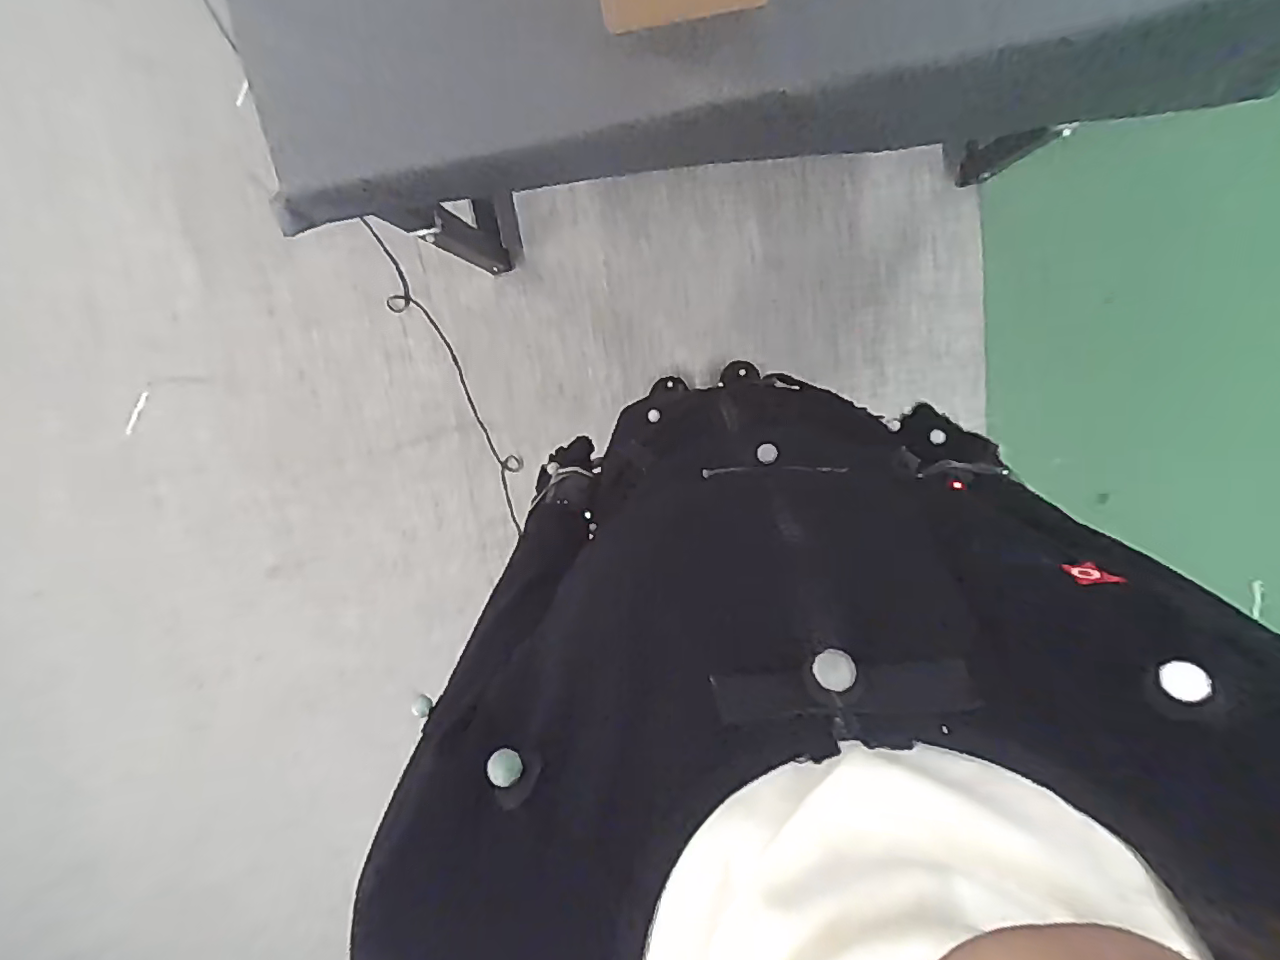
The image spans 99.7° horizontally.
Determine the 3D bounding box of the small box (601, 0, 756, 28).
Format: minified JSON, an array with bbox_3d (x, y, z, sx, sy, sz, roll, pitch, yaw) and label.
[{"bbox_3d":[0.034,-0.560,0.494,0.179,0.176,0.168,-6,101,5],"label":"small box"}]
